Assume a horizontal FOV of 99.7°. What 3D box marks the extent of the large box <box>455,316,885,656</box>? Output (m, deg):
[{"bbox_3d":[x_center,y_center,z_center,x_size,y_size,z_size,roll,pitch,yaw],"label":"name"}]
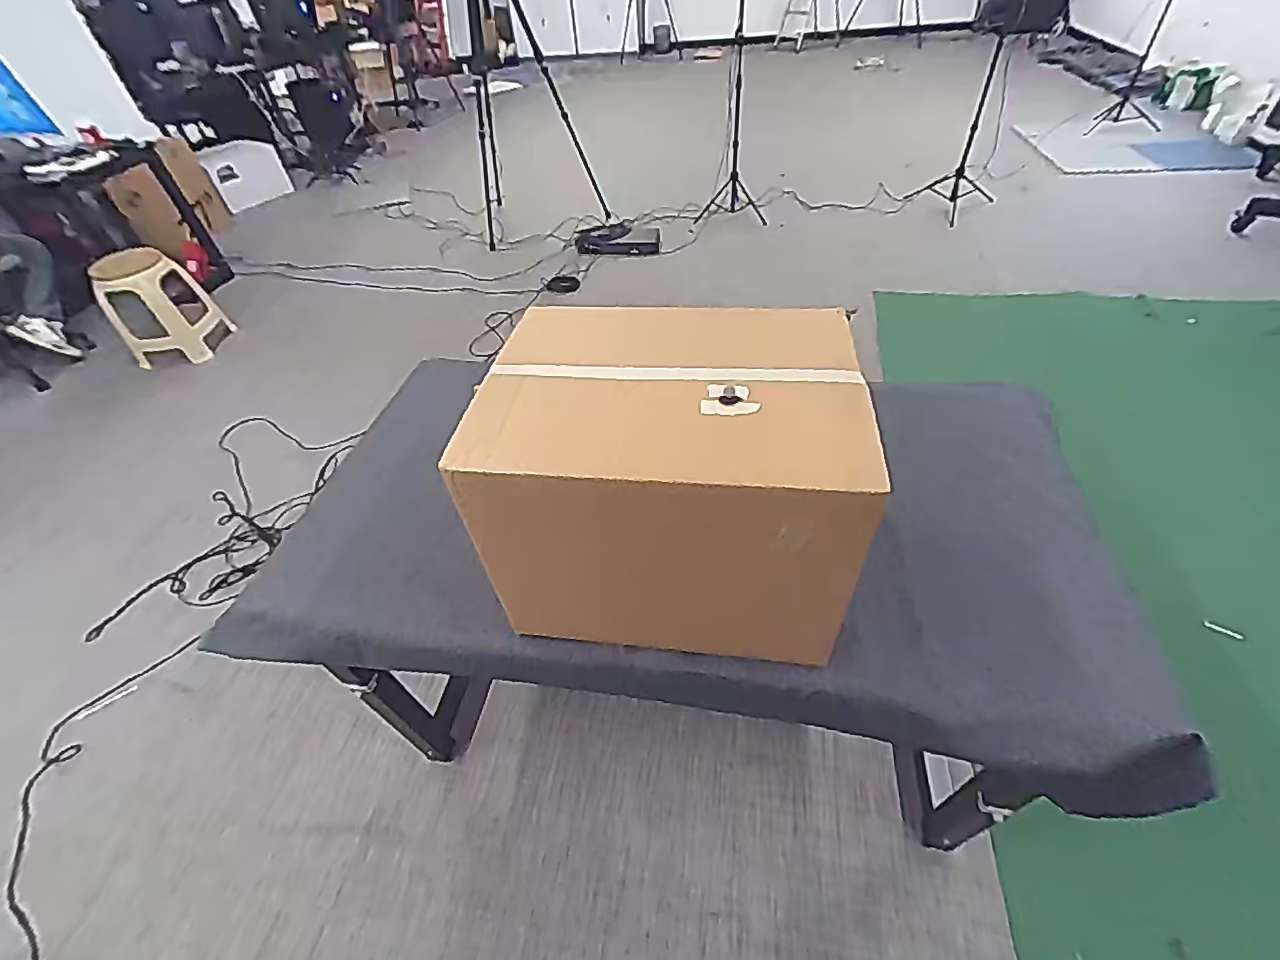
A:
[{"bbox_3d":[0.042,0.001,0.697,0.408,0.320,0.320,3,45,8],"label":"large box"}]
